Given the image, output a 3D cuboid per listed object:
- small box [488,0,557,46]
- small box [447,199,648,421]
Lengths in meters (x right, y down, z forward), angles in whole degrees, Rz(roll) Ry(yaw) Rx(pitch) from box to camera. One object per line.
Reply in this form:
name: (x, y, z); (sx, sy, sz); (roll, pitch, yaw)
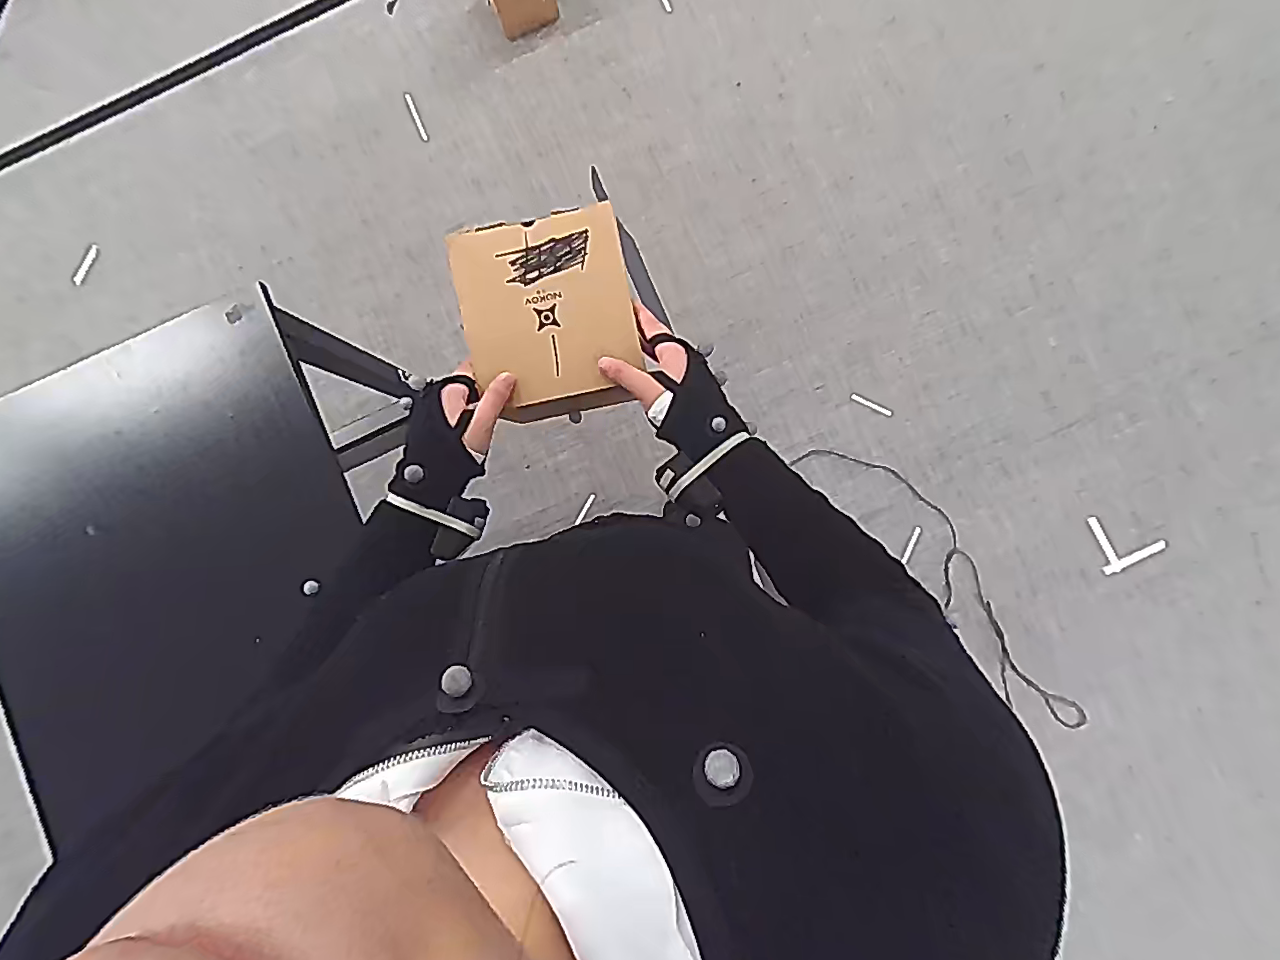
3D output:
small box: (-0.344, -1.387, 1.520); (0.179, 0.176, 0.168); (-24, 85, 2)
small box: (-0.089, -0.171, 0.596); (0.168, 0.176, 0.179); (-12, 92, 1)
